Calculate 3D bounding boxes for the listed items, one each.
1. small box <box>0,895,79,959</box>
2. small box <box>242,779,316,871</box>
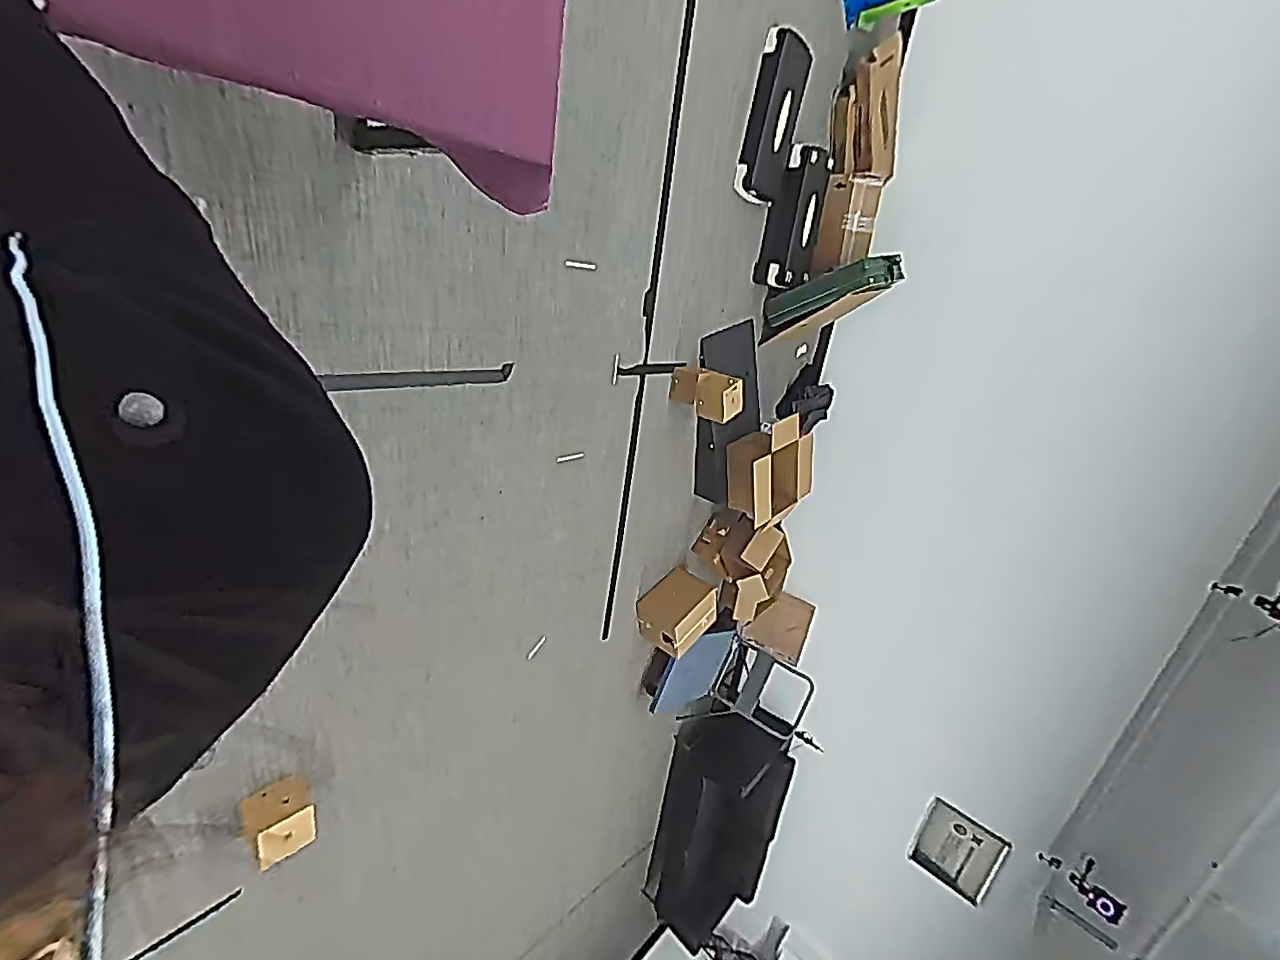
[{"bbox_3d":[-1.600,1.241,1.412,0.168,0.176,0.179,-12,120,-48],"label":"small box"},{"bbox_3d":[-1.232,1.162,1.844,0.168,0.176,0.179,-15,123,-48],"label":"small box"}]
